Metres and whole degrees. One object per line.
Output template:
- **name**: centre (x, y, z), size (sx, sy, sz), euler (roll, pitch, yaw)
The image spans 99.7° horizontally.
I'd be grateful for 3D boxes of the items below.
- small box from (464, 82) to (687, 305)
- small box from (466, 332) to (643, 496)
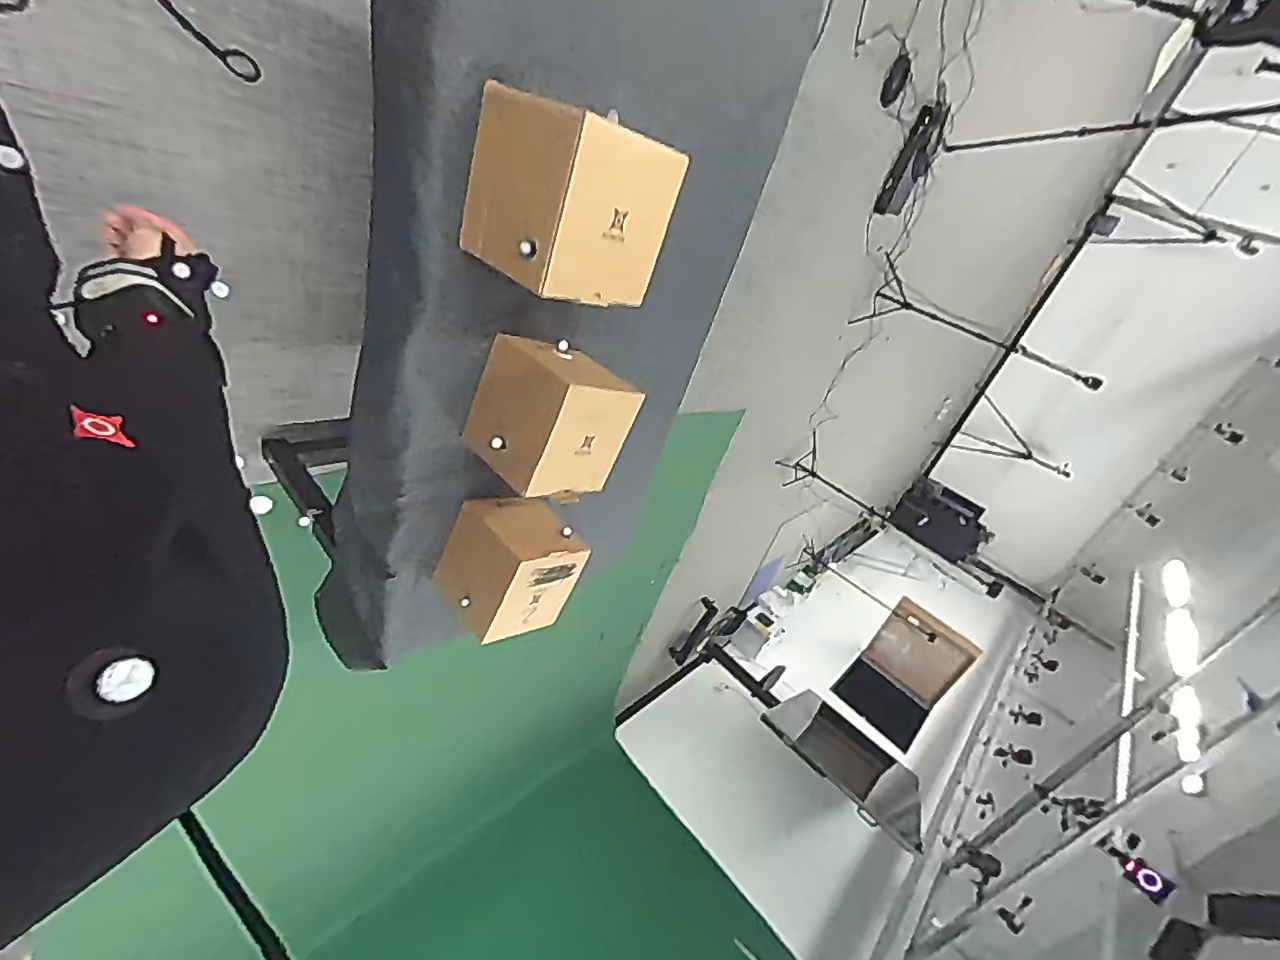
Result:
- **small box**: centre (-0.081, -0.323, 0.624), size (0.168, 0.176, 0.179), euler (-15, 135, -48)
- **small box**: centre (-0.133, -0.096, 0.807), size (0.168, 0.176, 0.179), euler (-5, 126, -54)
